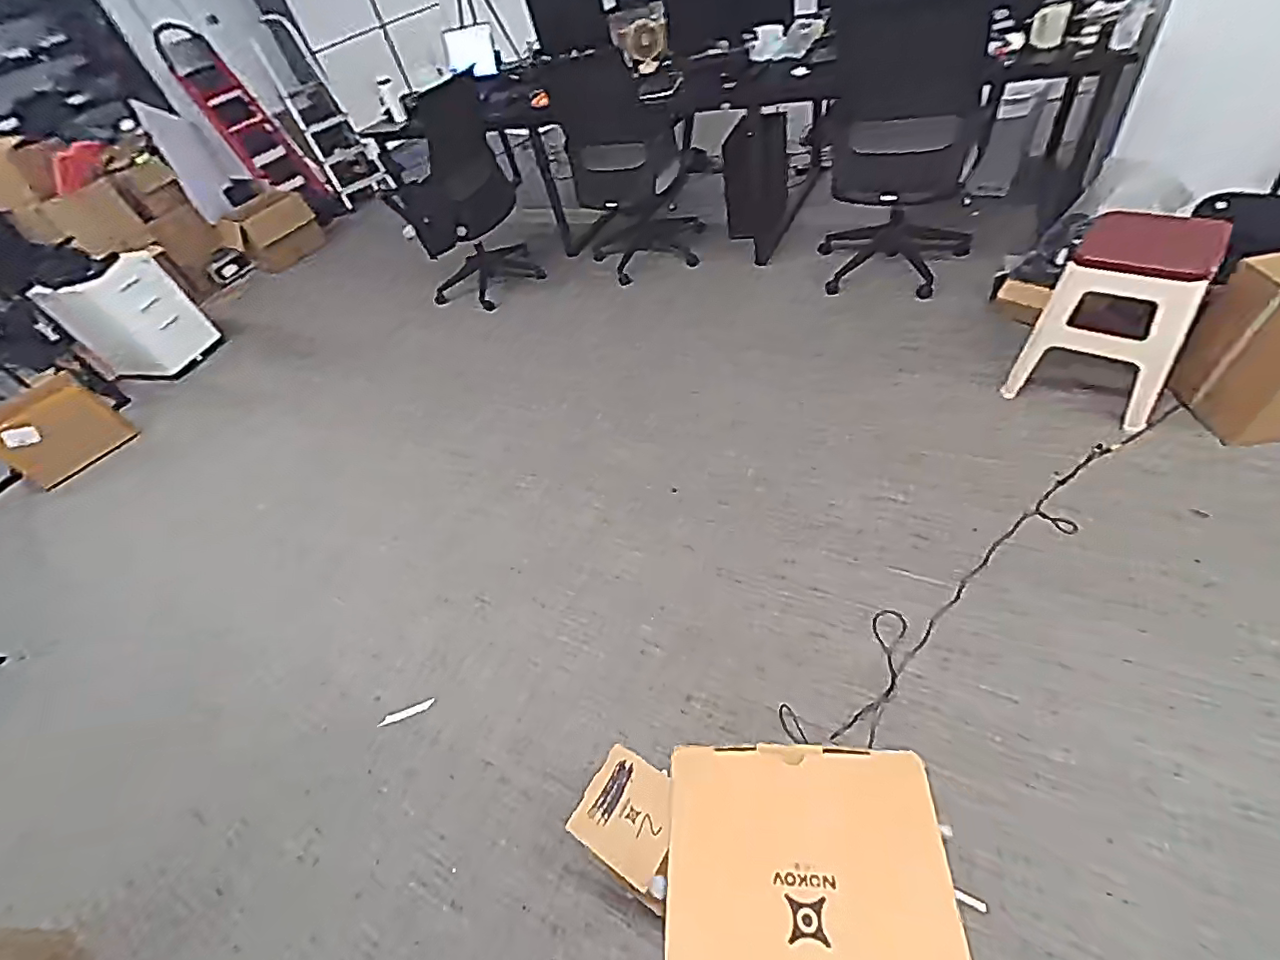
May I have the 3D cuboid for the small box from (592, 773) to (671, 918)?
[{"bbox_3d":[0.033,0.741,1.096,0.168,0.176,0.179,20,58,31],"label":"small box"}]

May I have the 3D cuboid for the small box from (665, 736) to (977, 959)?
[{"bbox_3d":[0.112,0.292,0.364,0.168,0.176,0.179,-5,46,11],"label":"small box"}]
